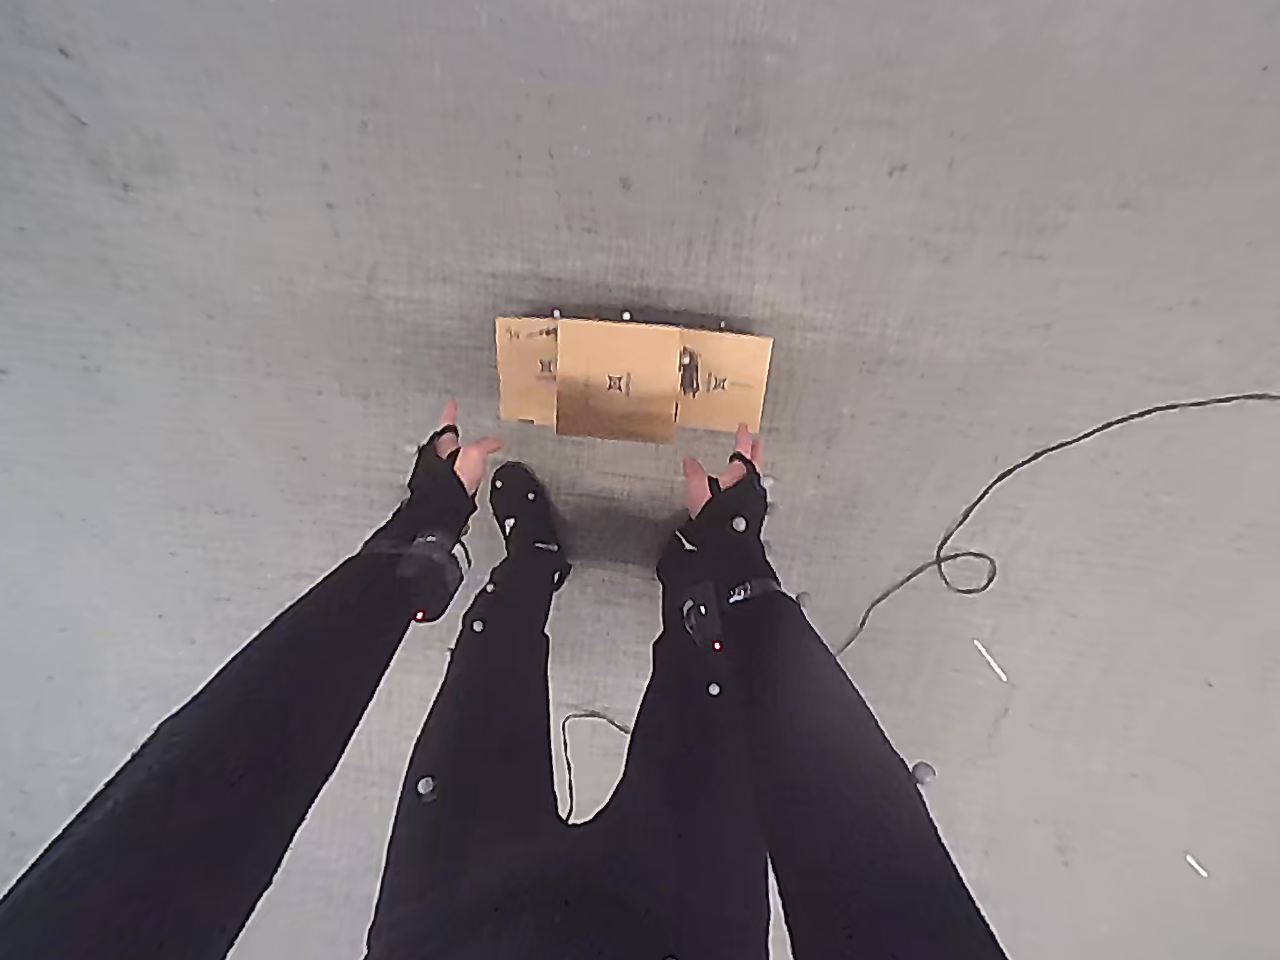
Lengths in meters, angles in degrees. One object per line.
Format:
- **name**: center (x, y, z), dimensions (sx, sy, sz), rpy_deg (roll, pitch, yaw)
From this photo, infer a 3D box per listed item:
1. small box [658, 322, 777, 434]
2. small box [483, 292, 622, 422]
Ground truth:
- **small box**: center (0.135, -0.195, 0.998), dimensions (0.179, 0.176, 0.168), rpy_deg (10, 109, 1)
- **small box**: center (-0.151, -0.225, 0.999), dimensions (0.179, 0.176, 0.168), rpy_deg (-26, 101, 12)
